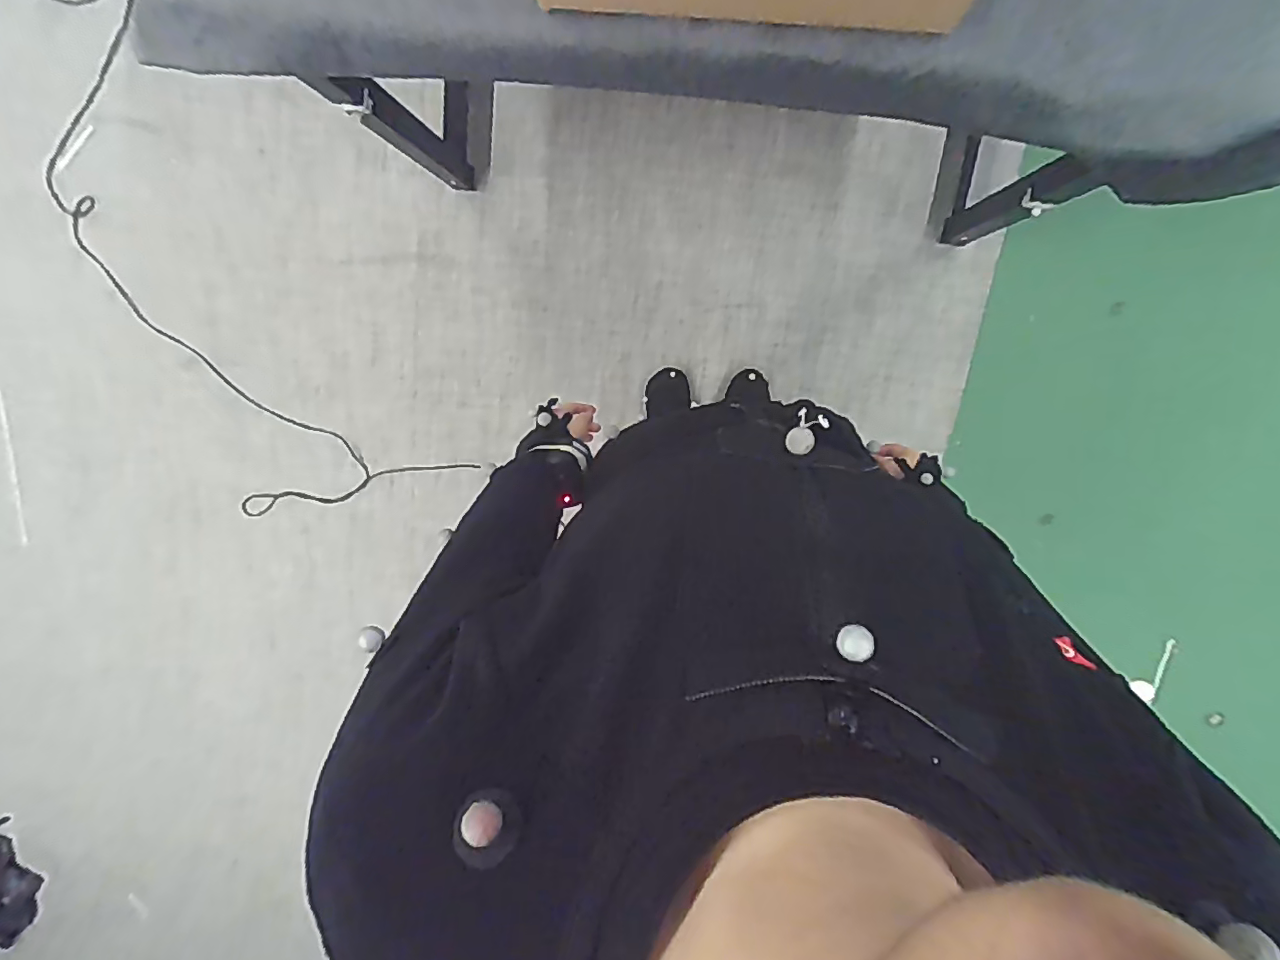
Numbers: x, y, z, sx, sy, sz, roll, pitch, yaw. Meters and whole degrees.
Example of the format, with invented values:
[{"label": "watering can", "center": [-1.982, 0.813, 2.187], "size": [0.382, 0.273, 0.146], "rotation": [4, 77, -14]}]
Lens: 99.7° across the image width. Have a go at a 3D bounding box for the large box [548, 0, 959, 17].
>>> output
[{"label": "large box", "center": [0.099, -0.575, 0.352], "size": [0.408, 0.320, 0.320], "rotation": [6, 102, 3]}]
